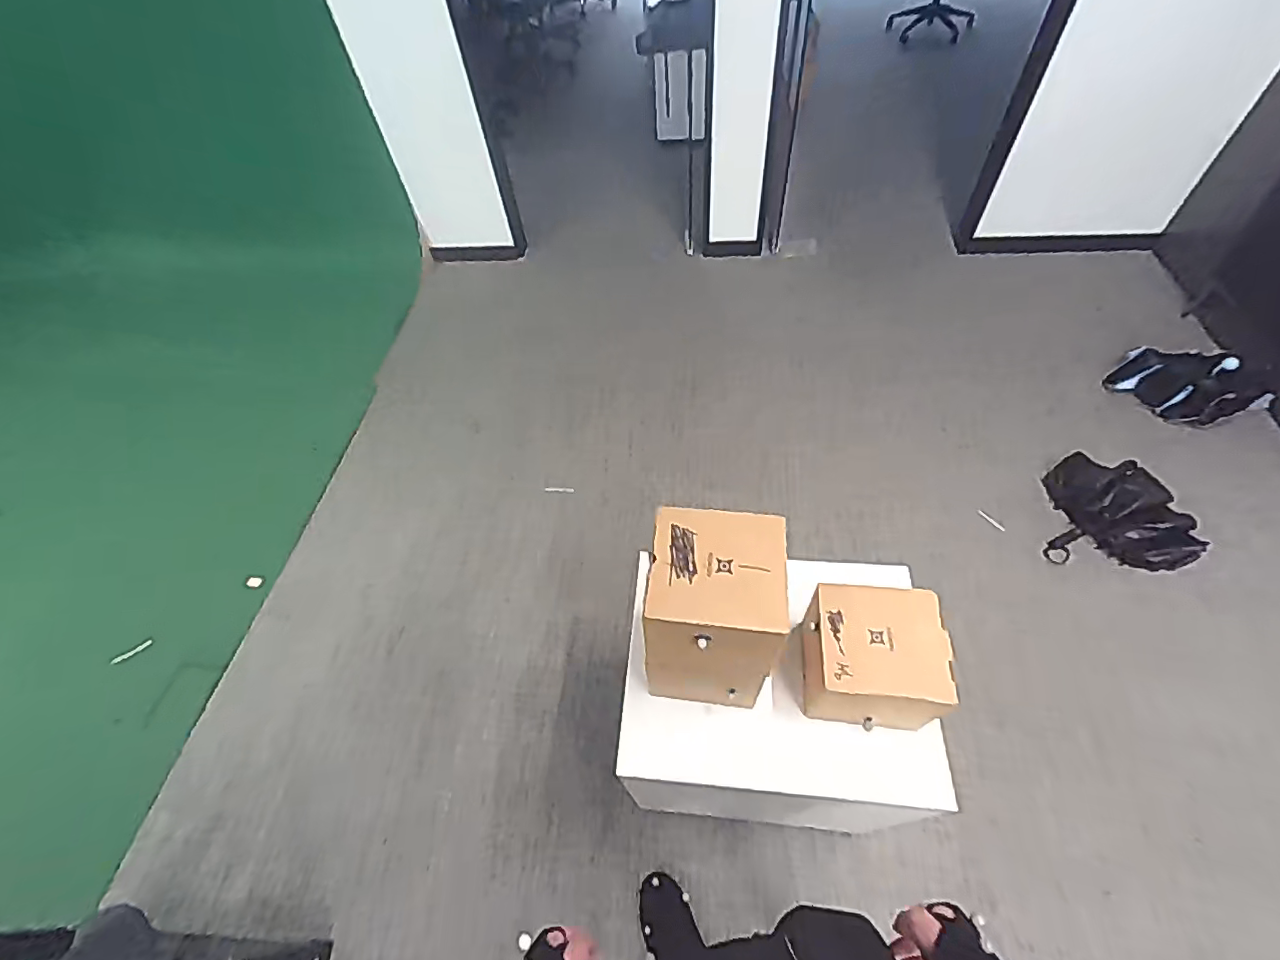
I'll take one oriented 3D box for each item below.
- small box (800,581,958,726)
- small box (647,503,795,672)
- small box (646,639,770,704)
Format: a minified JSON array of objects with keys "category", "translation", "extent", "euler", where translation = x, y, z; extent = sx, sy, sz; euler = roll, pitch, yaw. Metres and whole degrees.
[{"category":"small box","translation":[0.356,0.274,0.841],"extent":[0.179,0.176,0.168],"euler":[4,55,8]},{"category":"small box","translation":[0.107,0.151,0.742],"extent":[0.179,0.176,0.168],"euler":[6,54,5]},{"category":"small box","translation":[0.108,0.251,0.873],"extent":[0.179,0.176,0.168],"euler":[4,53,7]}]
